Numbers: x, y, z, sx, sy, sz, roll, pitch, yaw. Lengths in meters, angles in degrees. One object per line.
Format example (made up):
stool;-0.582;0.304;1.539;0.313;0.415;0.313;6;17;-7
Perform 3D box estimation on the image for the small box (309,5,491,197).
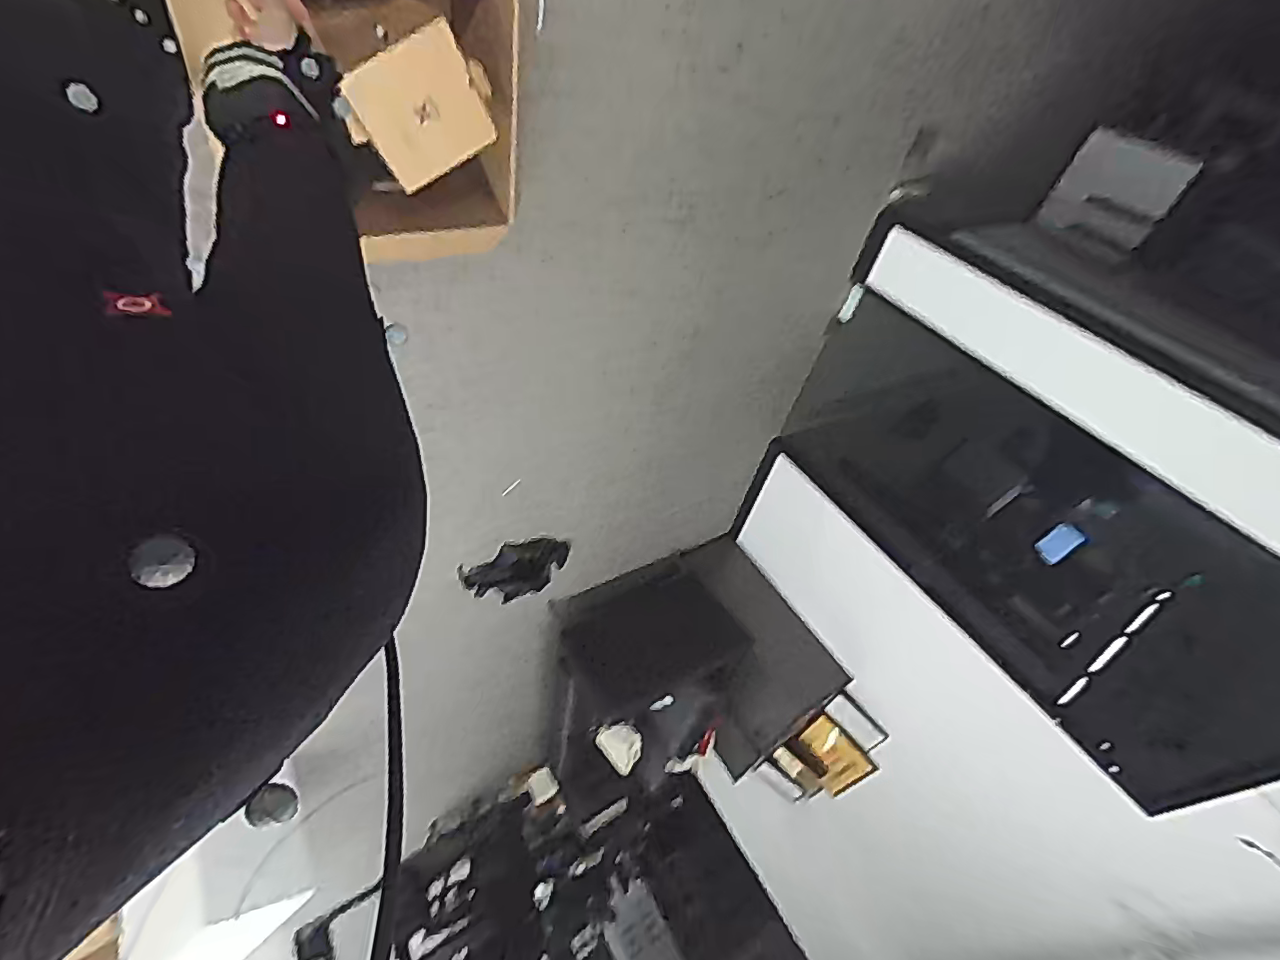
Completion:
small box;-0.371;-0.591;0.841;0.179;0.176;0.168;-36;149;-6
